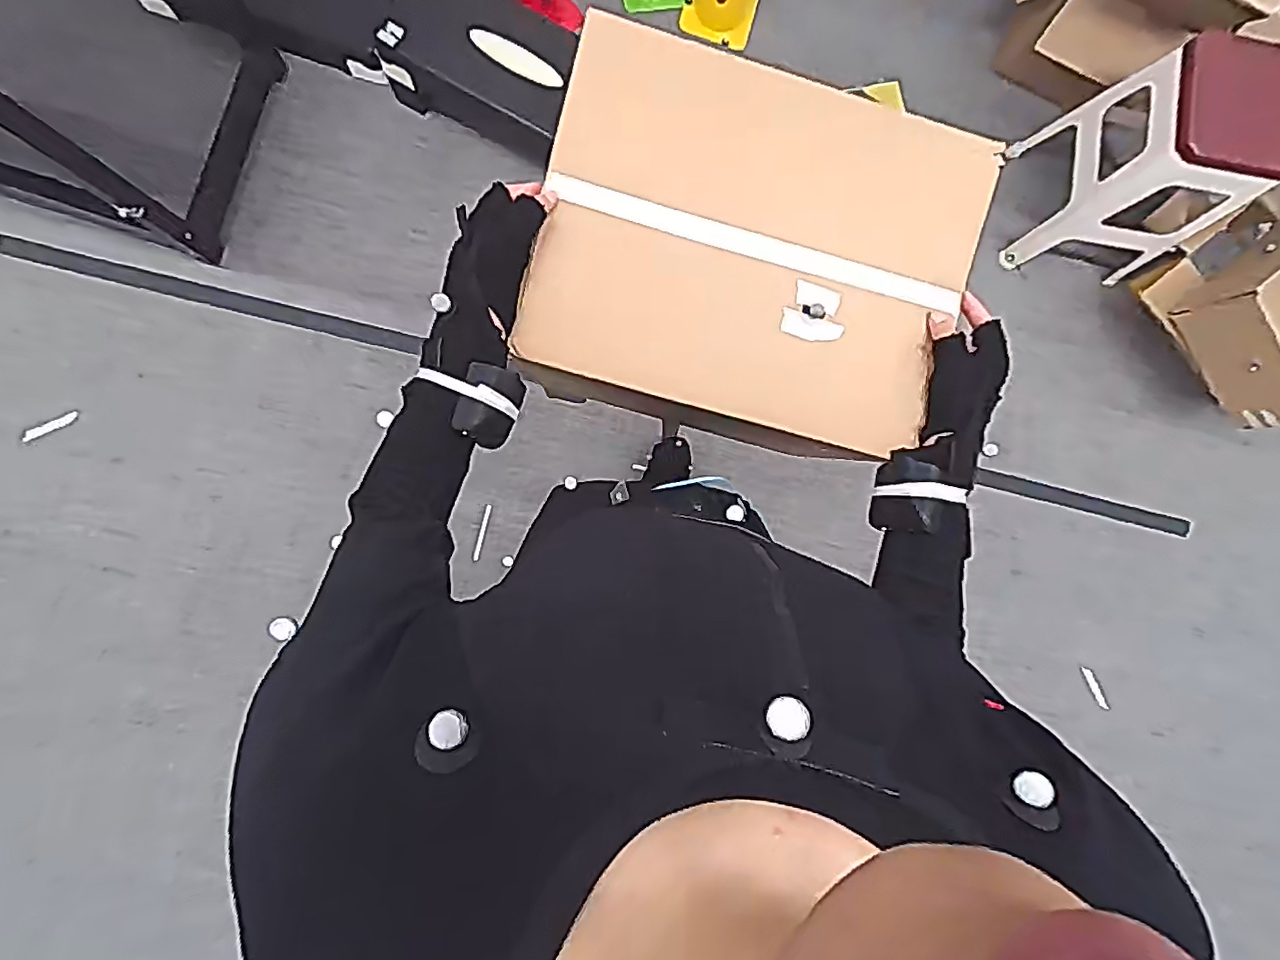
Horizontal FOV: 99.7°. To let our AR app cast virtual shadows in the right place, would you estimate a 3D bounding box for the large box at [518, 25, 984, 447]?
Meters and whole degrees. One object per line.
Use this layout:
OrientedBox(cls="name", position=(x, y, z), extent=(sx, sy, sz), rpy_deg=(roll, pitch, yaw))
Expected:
OrientedBox(cls="large box", position=(0.099, -0.238, 0.668), extent=(0.408, 0.320, 0.320), rpy_deg=(15, 94, -5))
